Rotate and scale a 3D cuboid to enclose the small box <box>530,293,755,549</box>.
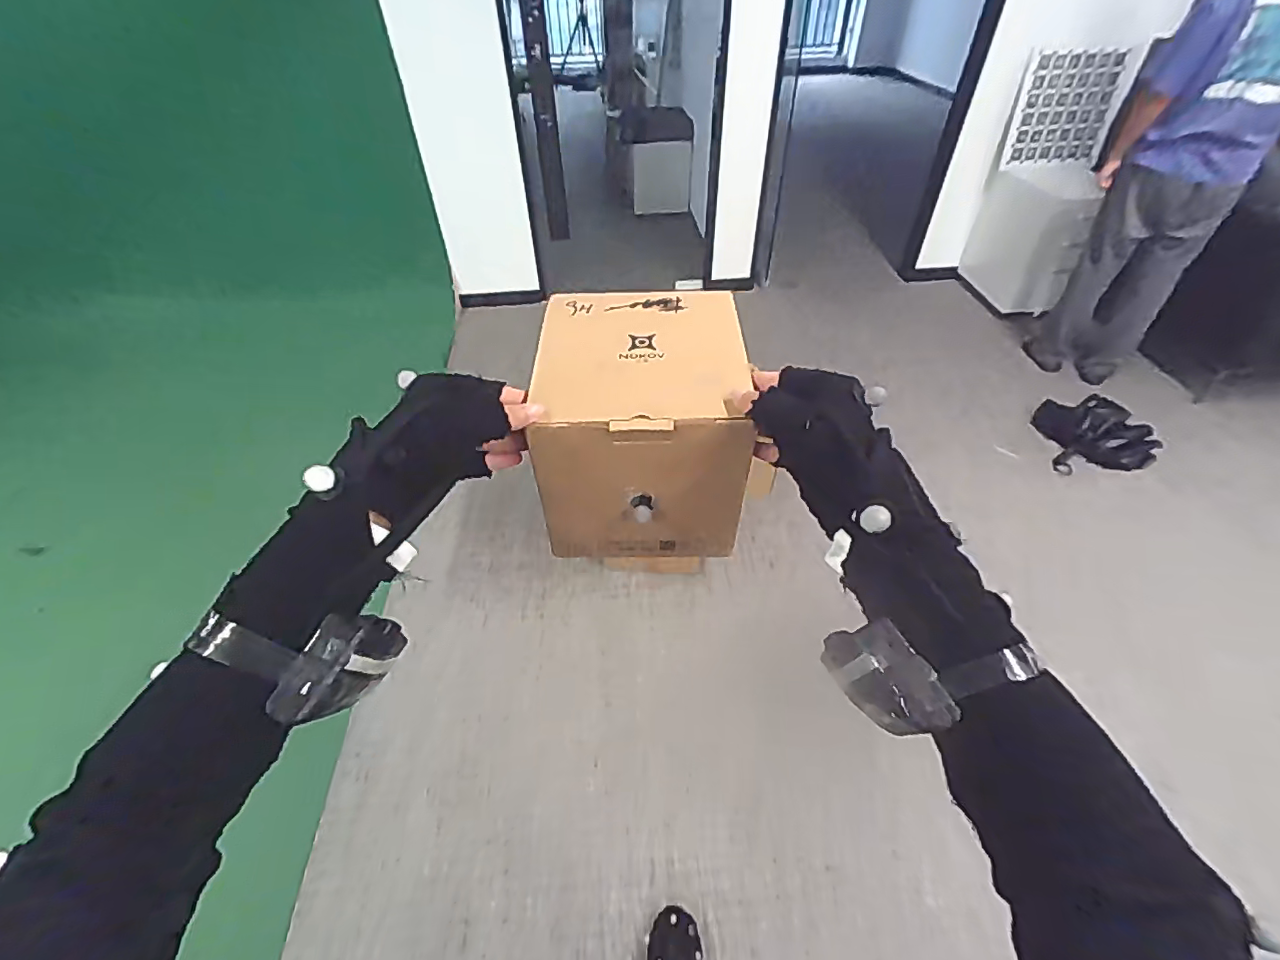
[{"bbox_3d":[0.005,-0.049,0.497,0.168,0.176,0.179,-1,48,1],"label":"small box"}]
